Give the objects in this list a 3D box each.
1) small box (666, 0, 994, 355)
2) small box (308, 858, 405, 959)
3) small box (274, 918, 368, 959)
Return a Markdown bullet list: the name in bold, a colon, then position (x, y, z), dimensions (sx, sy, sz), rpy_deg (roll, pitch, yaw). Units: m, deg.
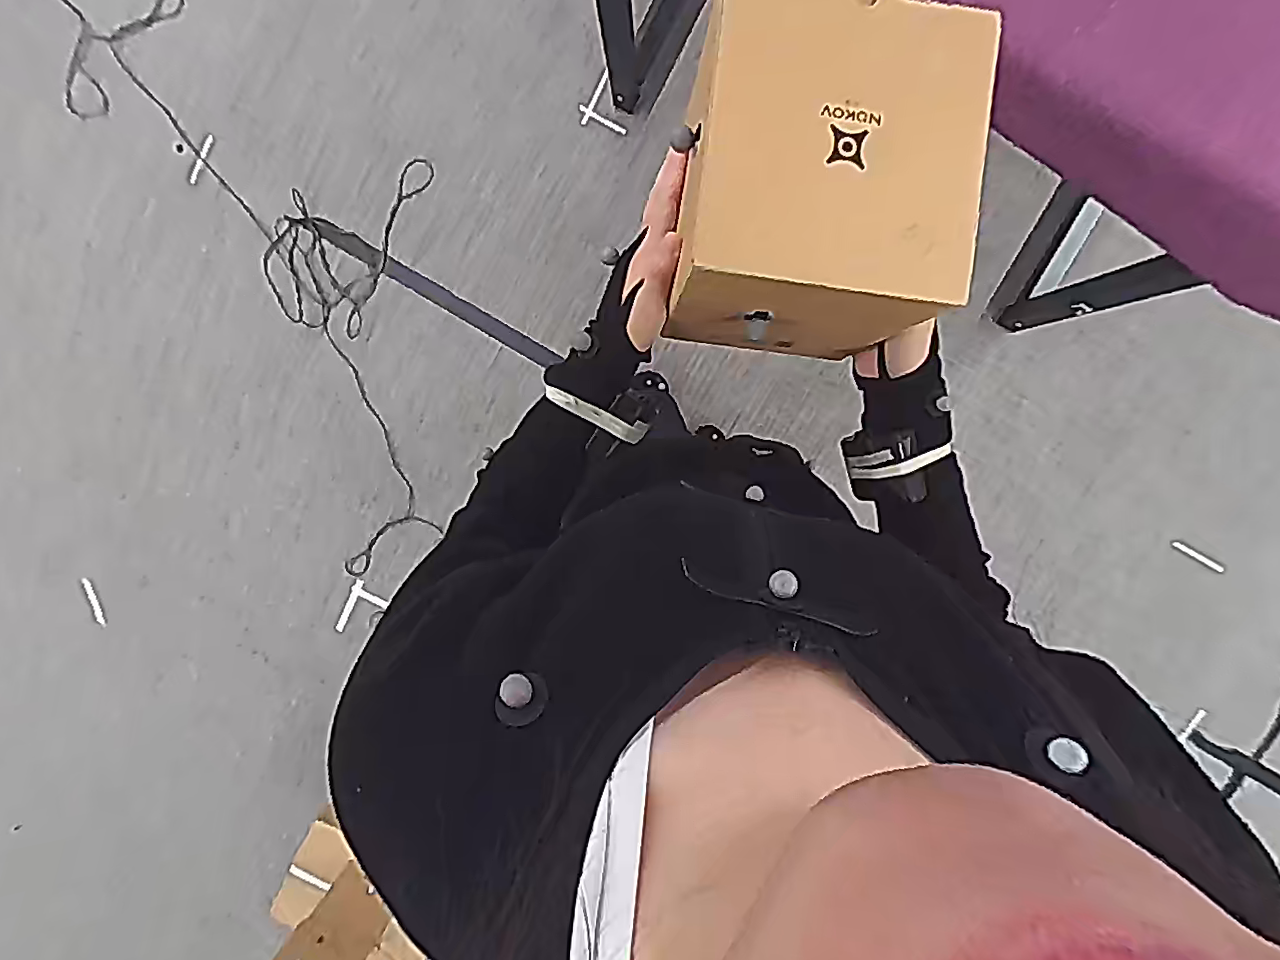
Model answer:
- **small box**: position (0.115, -0.200, 0.397), dimensions (0.168, 0.176, 0.179), rpy_deg (6, 90, -5)
- **small box**: position (-0.689, 1.056, 1.276), dimensions (0.168, 0.176, 0.179), rpy_deg (27, 96, -1)
- **small box**: position (-0.697, 1.068, 1.114), dimensions (0.168, 0.176, 0.179), rpy_deg (25, 98, 1)
